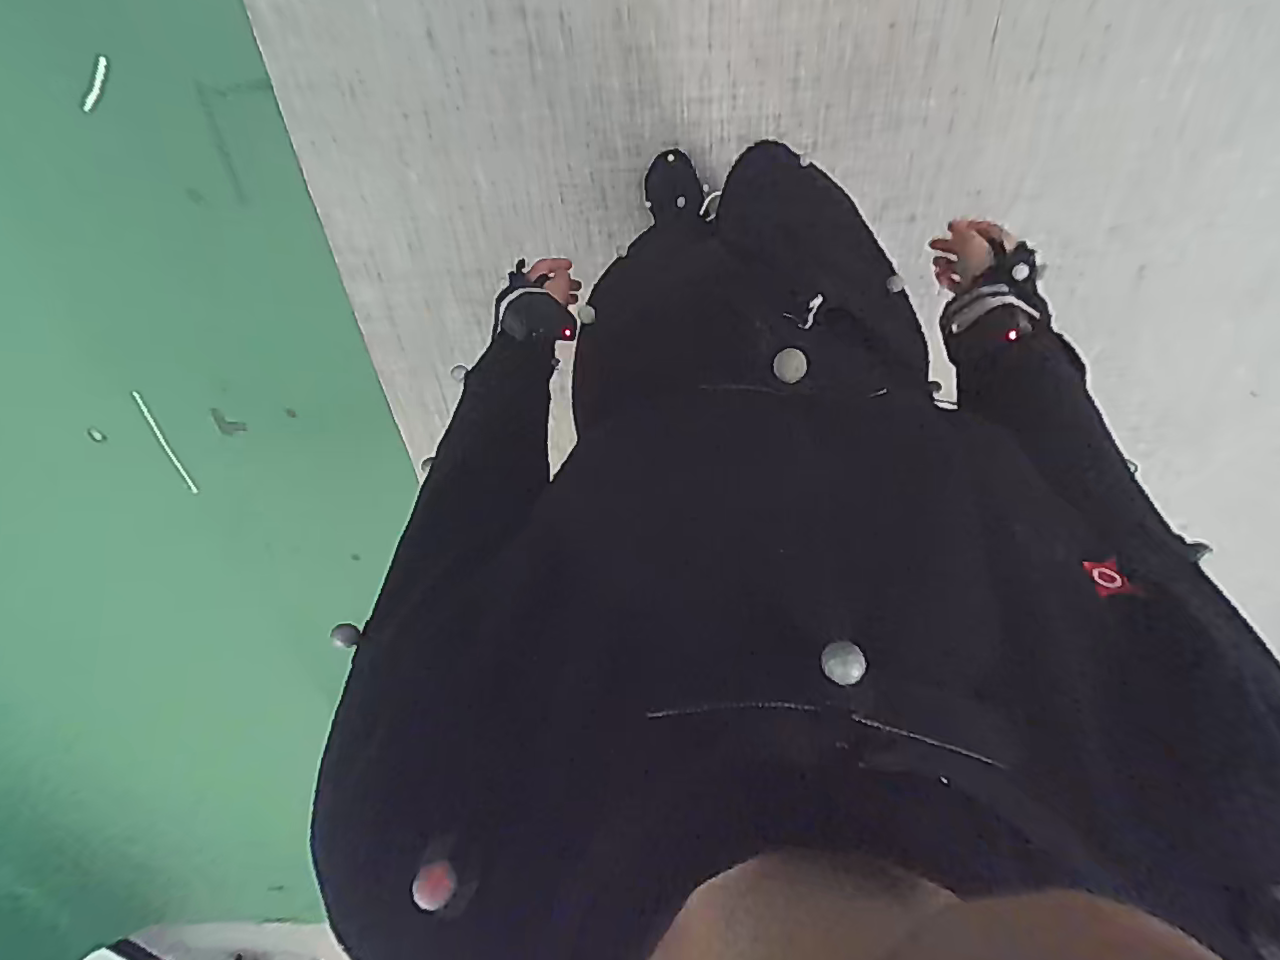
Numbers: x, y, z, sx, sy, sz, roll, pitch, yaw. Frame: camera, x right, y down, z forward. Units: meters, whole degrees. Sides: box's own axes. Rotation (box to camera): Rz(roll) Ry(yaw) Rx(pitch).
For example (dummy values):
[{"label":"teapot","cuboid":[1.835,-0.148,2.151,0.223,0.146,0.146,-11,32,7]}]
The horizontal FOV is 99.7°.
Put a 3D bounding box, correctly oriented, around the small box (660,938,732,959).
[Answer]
[{"label":"small box","cuboid":[0.138,1.274,1.347,0.179,0.176,0.168,3,125,0]}]
